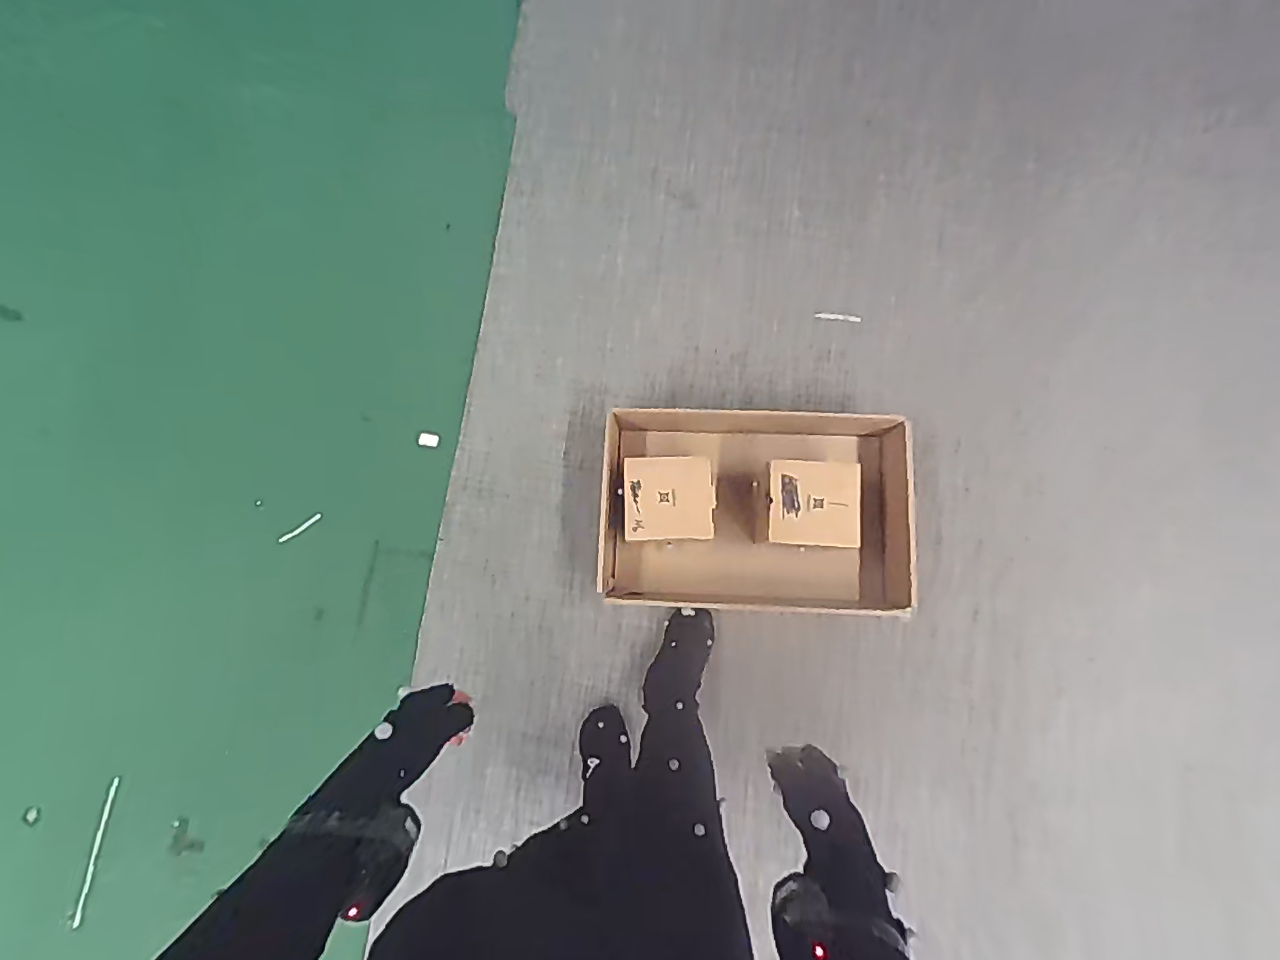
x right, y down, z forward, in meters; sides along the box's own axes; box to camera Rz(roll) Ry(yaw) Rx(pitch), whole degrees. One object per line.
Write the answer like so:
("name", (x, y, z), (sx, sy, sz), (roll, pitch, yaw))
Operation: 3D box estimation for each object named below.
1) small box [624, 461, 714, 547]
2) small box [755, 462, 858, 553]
("small box", (0.057, 0.055, 1.140), (0.179, 0.176, 0.168), (-1, 81, 2))
("small box", (0.337, 0.064, 1.124), (0.179, 0.176, 0.168), (4, 82, 4))
